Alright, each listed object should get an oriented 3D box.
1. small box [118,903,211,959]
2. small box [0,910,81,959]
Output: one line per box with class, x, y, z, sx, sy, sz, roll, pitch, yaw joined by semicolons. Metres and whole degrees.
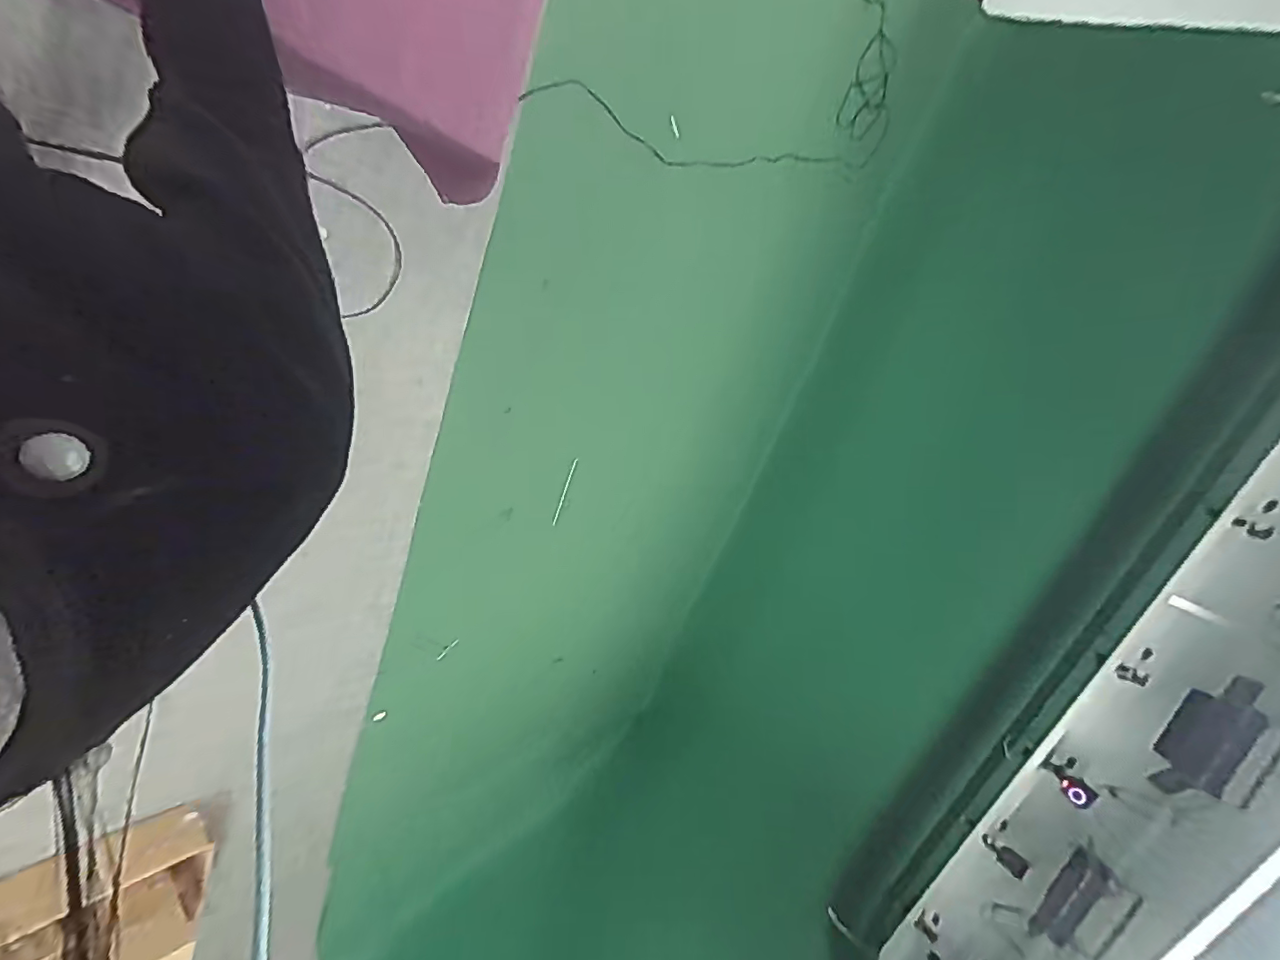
small box;-1.407;1.416;1.593;0.168;0.176;0.179;0;116;-57
small box;-1.665;1.335;1.466;0.179;0.176;0.168;-8;122;-56
